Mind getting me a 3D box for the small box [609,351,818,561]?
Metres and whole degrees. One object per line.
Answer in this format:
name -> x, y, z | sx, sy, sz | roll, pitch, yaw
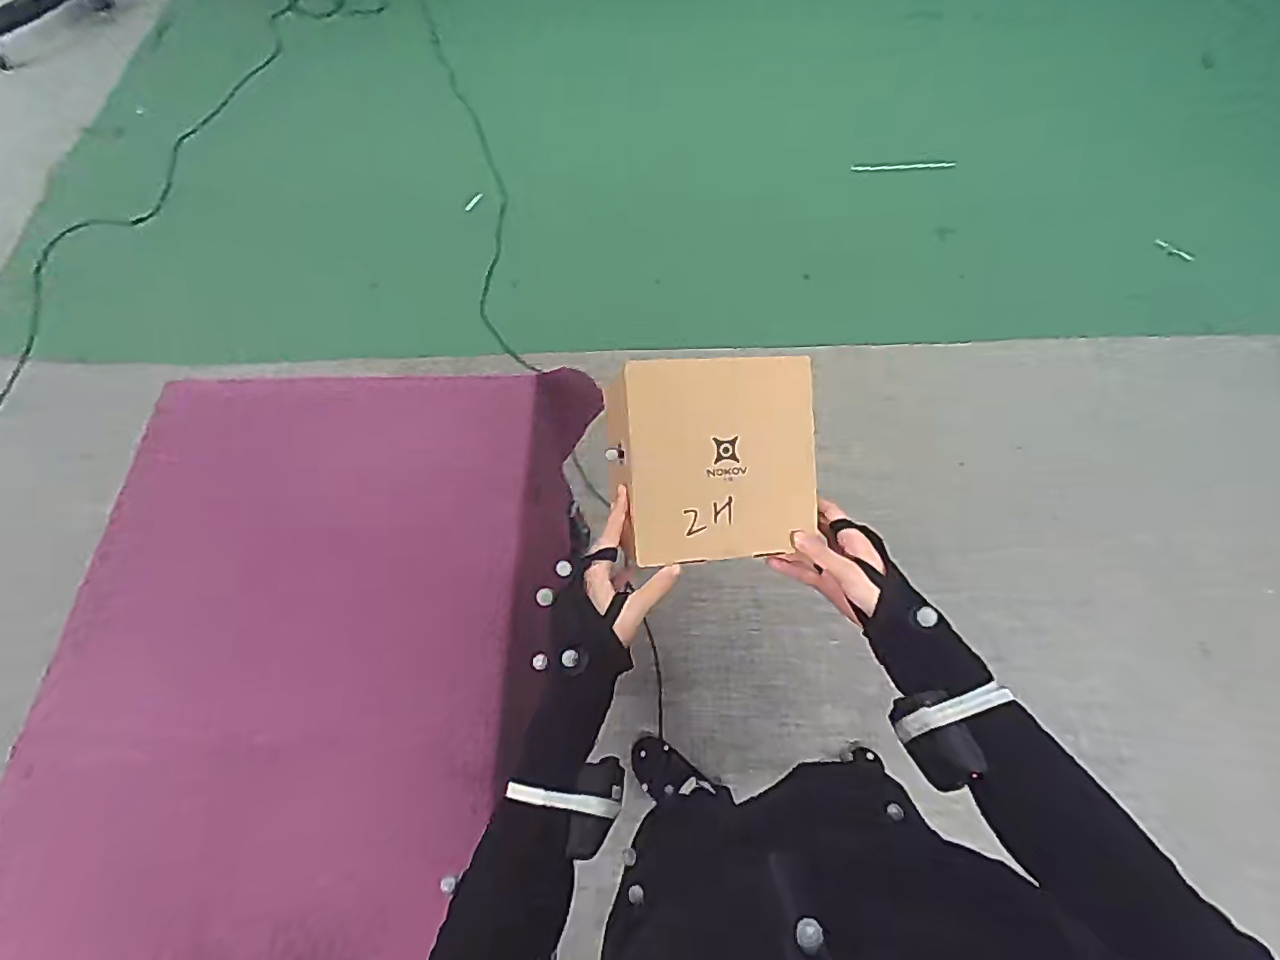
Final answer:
small box -> 0.060, -0.023, 0.537 | 0.168, 0.176, 0.179 | -3, 92, -8
